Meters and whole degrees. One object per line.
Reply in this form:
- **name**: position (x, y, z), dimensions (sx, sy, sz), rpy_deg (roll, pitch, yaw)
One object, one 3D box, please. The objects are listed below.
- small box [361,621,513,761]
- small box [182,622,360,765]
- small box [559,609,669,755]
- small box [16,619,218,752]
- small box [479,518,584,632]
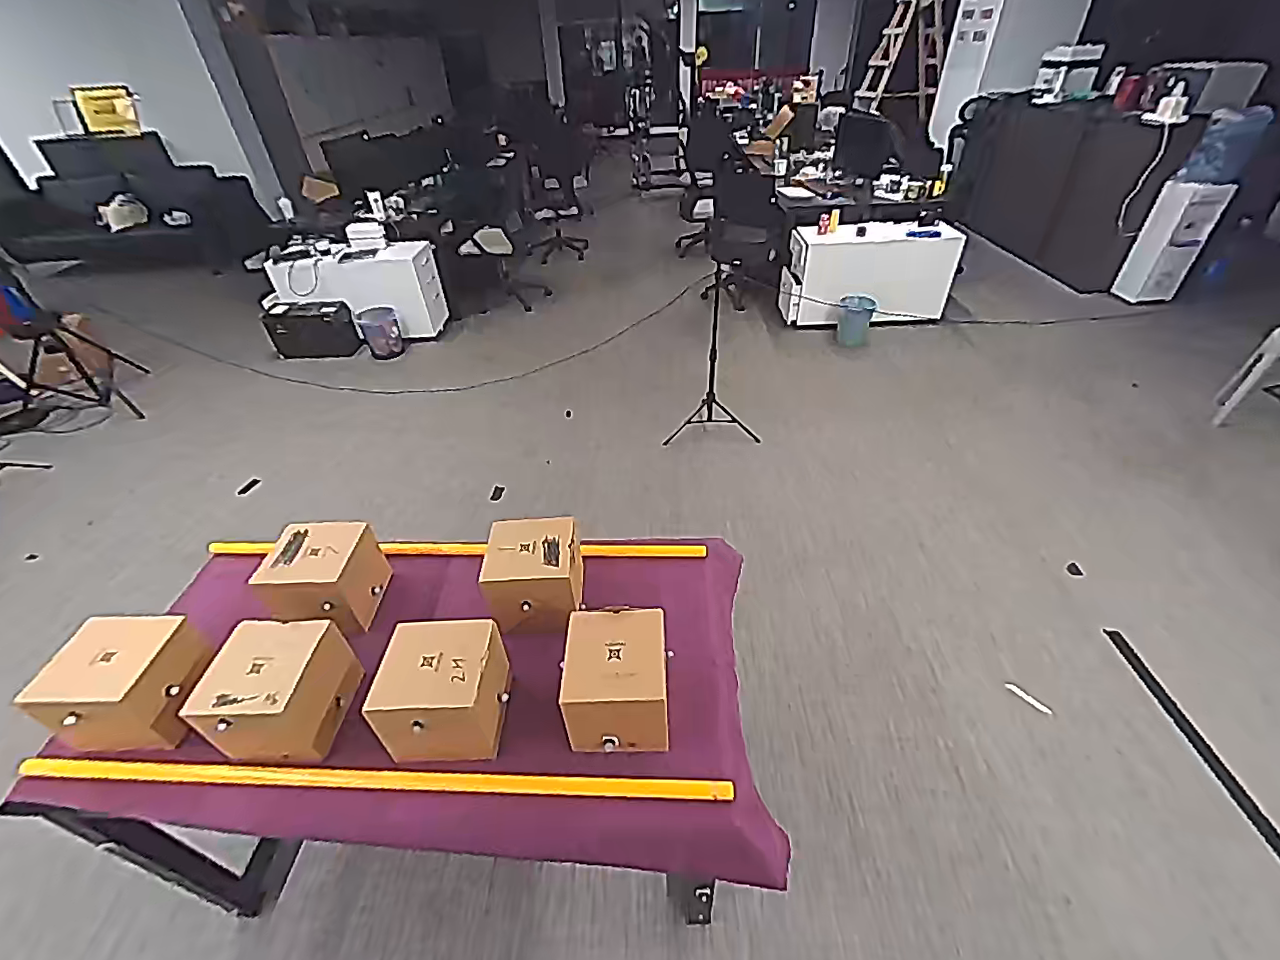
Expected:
- **small box**: position (-0.333, 0.363, 0.927), dimensions (0.179, 0.176, 0.168), rpy_deg (-2, 38, 2)
- **small box**: position (-0.620, 0.369, 0.941), dimensions (0.168, 0.176, 0.179), rpy_deg (-2, 39, 3)
- **small box**: position (-0.036, 0.345, 0.928), dimensions (0.168, 0.176, 0.179), rpy_deg (-3, 37, 3)
- **small box**: position (-0.900, 0.366, 0.965), dimensions (0.179, 0.176, 0.168), rpy_deg (-1, 39, 1)
- **small box**: position (-0.214, 0.199, 1.122), dimensions (0.179, 0.176, 0.168), rpy_deg (-4, 40, 1)
